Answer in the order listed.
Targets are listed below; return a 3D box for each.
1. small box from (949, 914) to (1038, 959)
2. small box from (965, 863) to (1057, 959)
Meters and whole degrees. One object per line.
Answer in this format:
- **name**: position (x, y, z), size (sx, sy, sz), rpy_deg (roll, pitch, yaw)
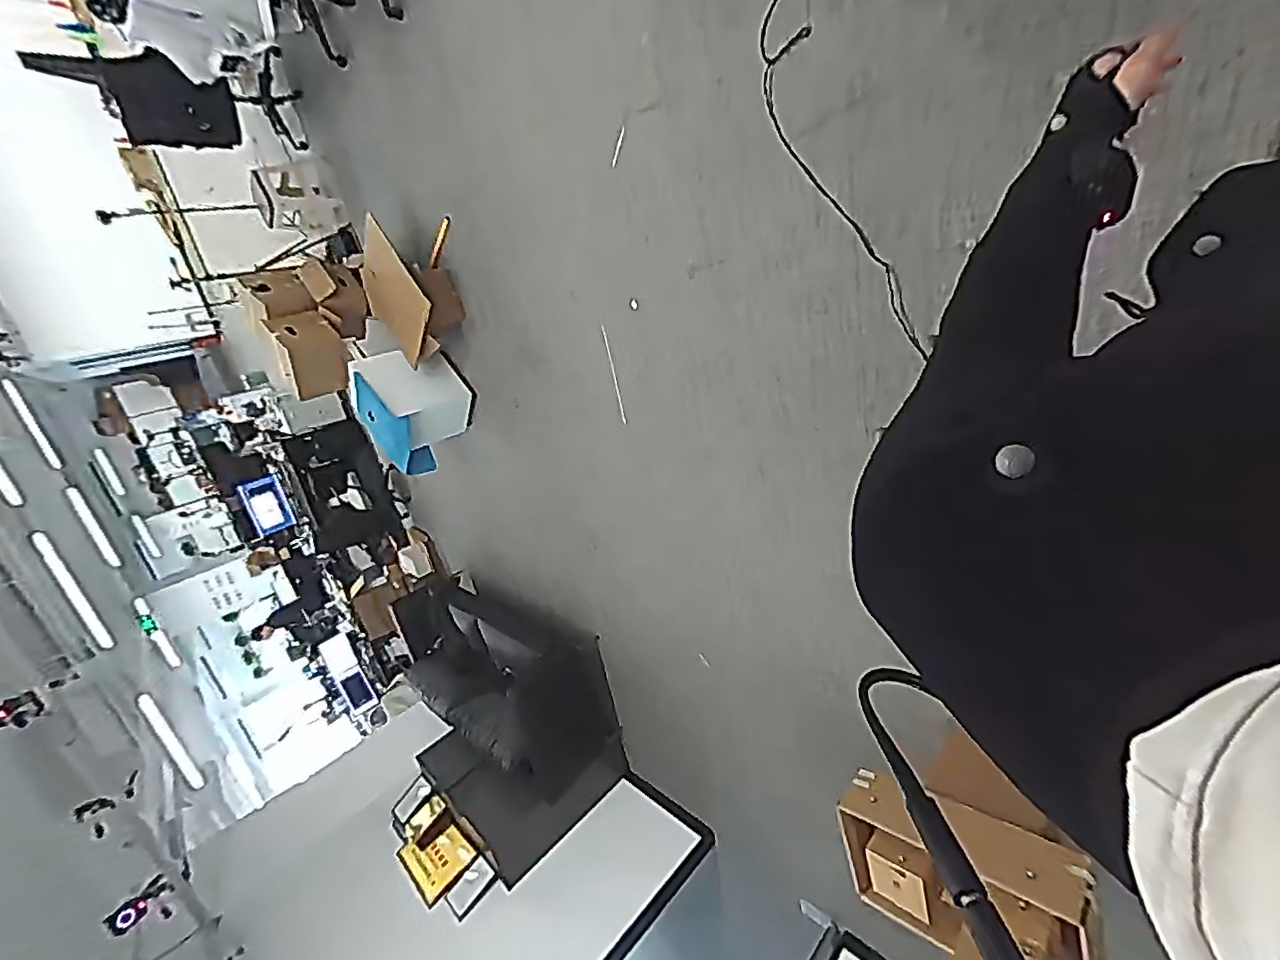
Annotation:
- **small box**: position (0.865, 1.234, 1.325), size (0.168, 0.176, 0.179), rpy_deg (6, 117, 47)
- **small box**: position (0.980, 1.172, 1.426), size (0.168, 0.176, 0.179), rpy_deg (0, 112, 48)
